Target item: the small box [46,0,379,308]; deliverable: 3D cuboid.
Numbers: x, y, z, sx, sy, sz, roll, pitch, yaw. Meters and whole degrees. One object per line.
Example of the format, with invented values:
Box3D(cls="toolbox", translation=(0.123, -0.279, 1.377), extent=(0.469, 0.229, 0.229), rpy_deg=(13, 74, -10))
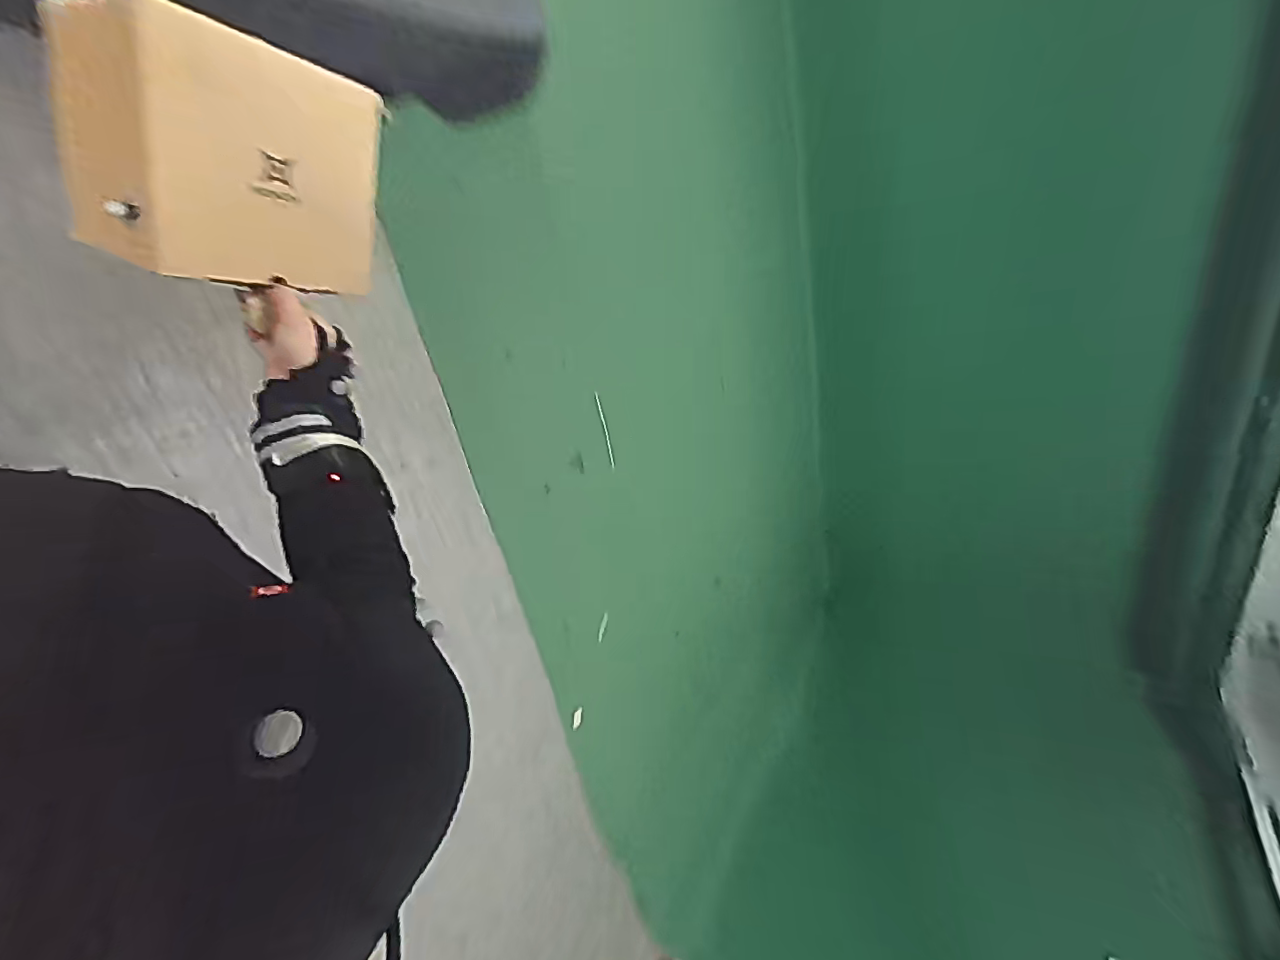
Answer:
Box3D(cls="small box", translation=(-0.350, -0.257, 0.457), extent=(0.168, 0.176, 0.179), rpy_deg=(-21, 129, -56))
